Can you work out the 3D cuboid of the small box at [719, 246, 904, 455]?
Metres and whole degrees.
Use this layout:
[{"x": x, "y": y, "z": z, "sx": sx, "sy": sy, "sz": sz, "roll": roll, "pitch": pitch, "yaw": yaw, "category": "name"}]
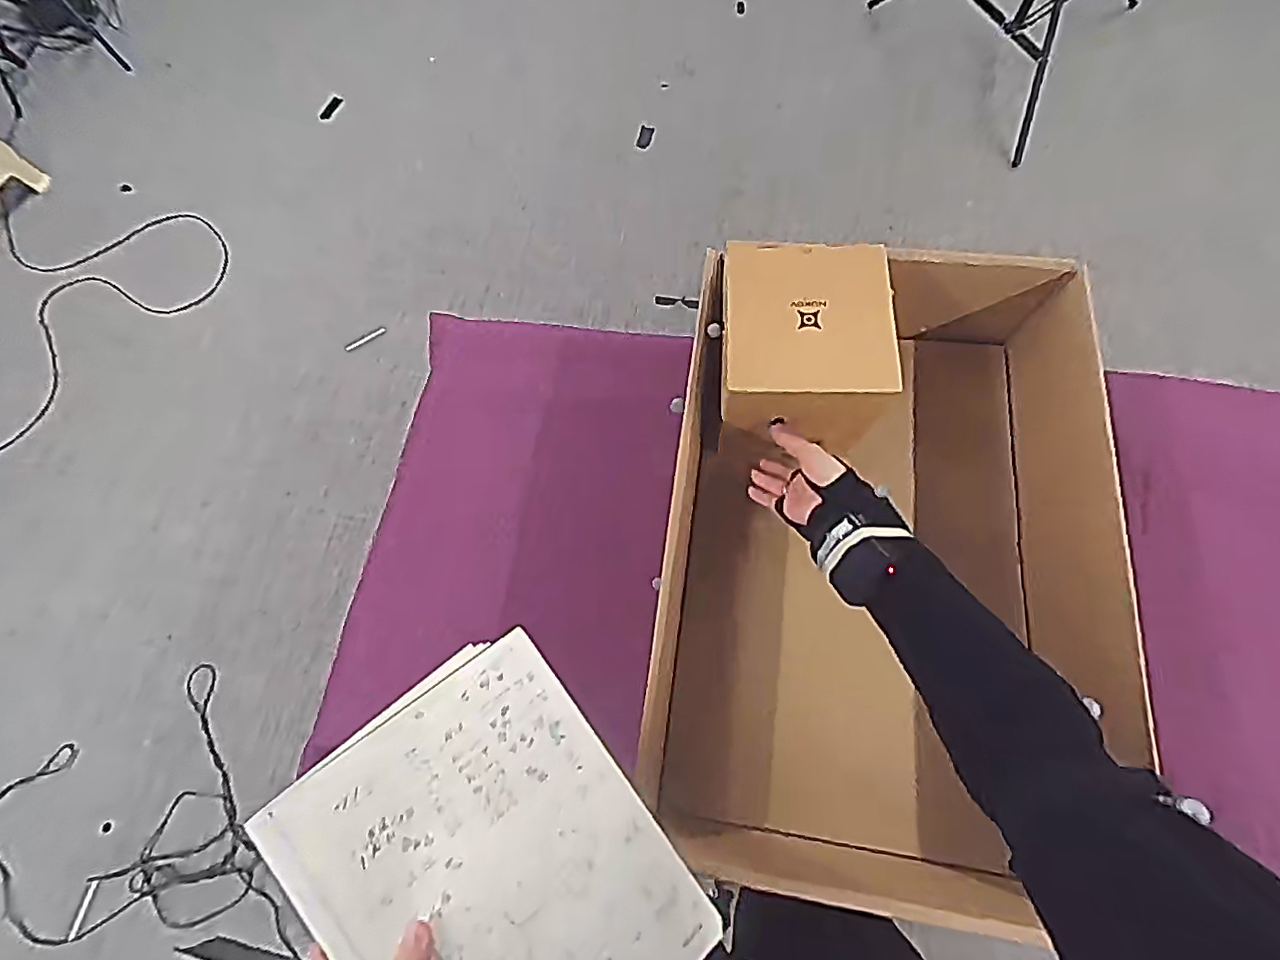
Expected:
[{"x": 0.179, "y": -0.135, "z": 0.614, "sx": 0.168, "sy": 0.176, "sz": 0.179, "roll": 1, "pitch": 71, "yaw": 5, "category": "small box"}]
